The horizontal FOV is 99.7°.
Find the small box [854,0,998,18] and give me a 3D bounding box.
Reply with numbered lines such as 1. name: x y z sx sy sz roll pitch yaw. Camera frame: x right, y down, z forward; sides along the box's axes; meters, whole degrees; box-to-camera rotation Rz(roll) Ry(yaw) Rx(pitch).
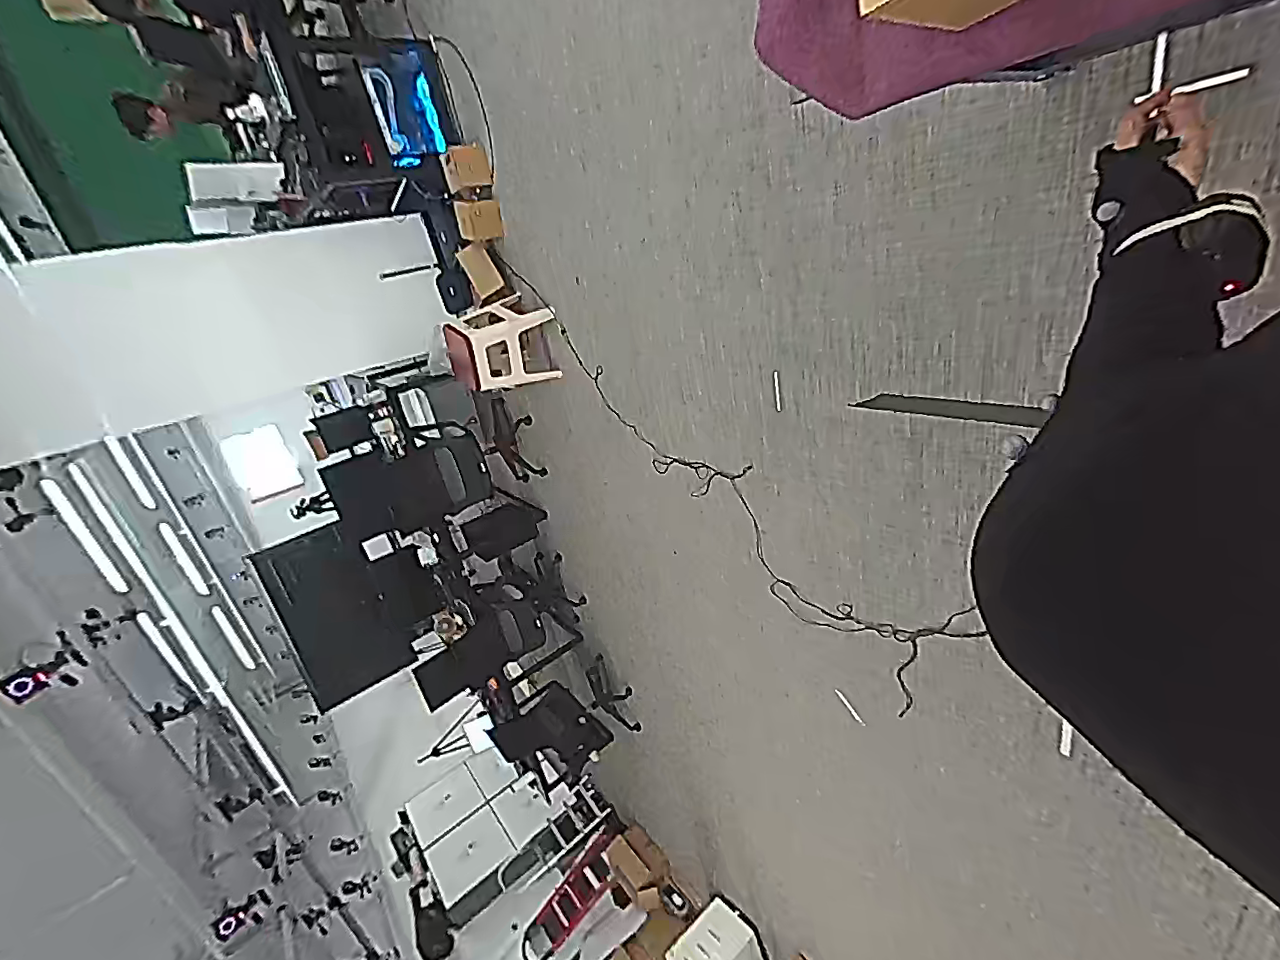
1. small box: 0.271 -0.471 0.386 0.179 0.176 0.168 12 122 52
